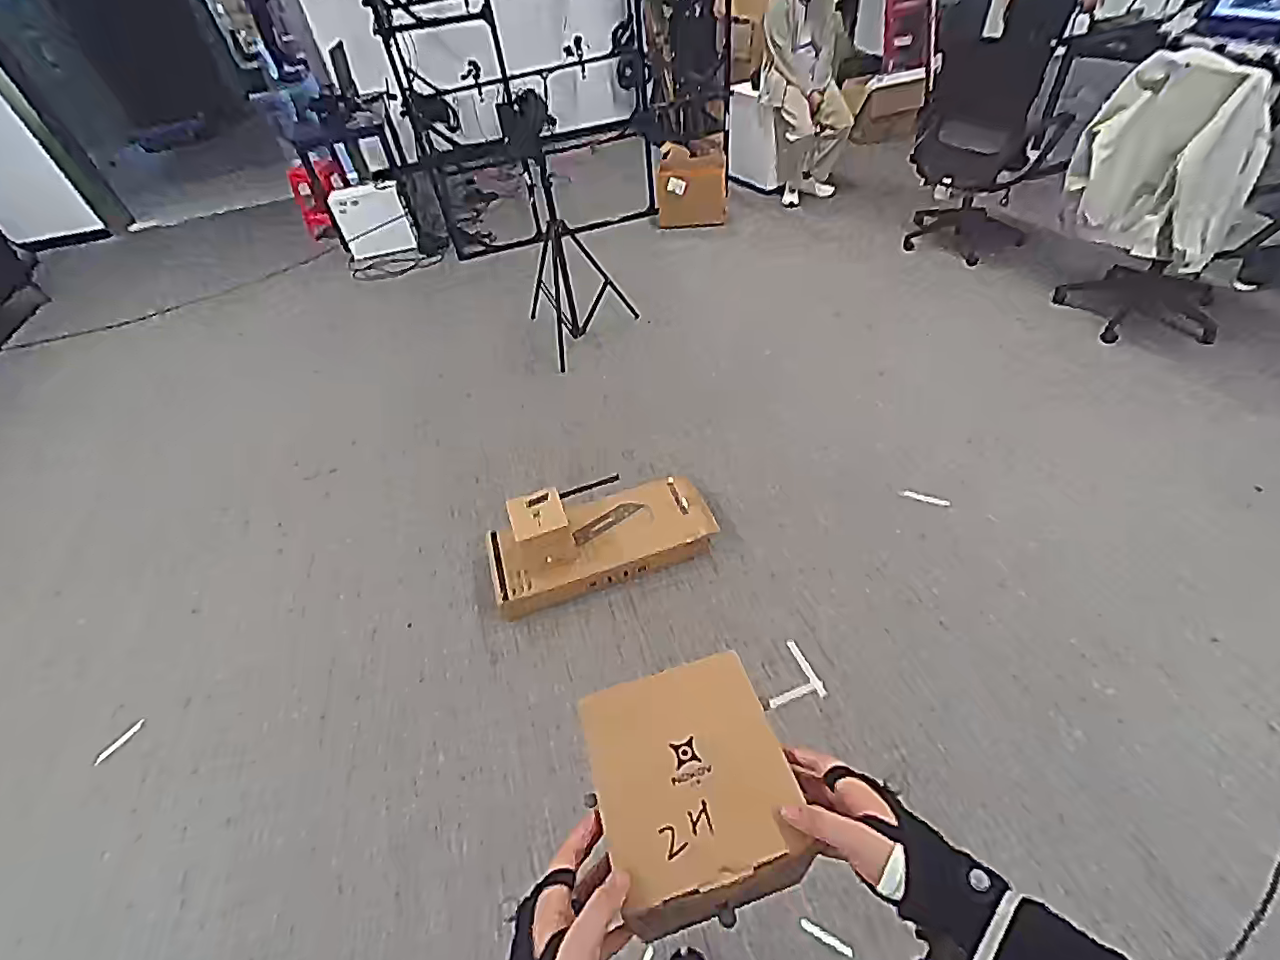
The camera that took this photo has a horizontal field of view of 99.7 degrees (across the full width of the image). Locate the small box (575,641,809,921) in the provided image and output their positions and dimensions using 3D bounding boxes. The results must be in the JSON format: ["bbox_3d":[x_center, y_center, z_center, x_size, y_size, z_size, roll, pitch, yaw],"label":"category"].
[{"bbox_3d":[0.042,0.296,0.534,0.168,0.176,0.179,-16,46,-7],"label":"small box"}]

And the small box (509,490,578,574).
[{"bbox_3d":[-0.305,0.166,1.716,0.168,0.176,0.179,-18,47,-10],"label":"small box"}]
